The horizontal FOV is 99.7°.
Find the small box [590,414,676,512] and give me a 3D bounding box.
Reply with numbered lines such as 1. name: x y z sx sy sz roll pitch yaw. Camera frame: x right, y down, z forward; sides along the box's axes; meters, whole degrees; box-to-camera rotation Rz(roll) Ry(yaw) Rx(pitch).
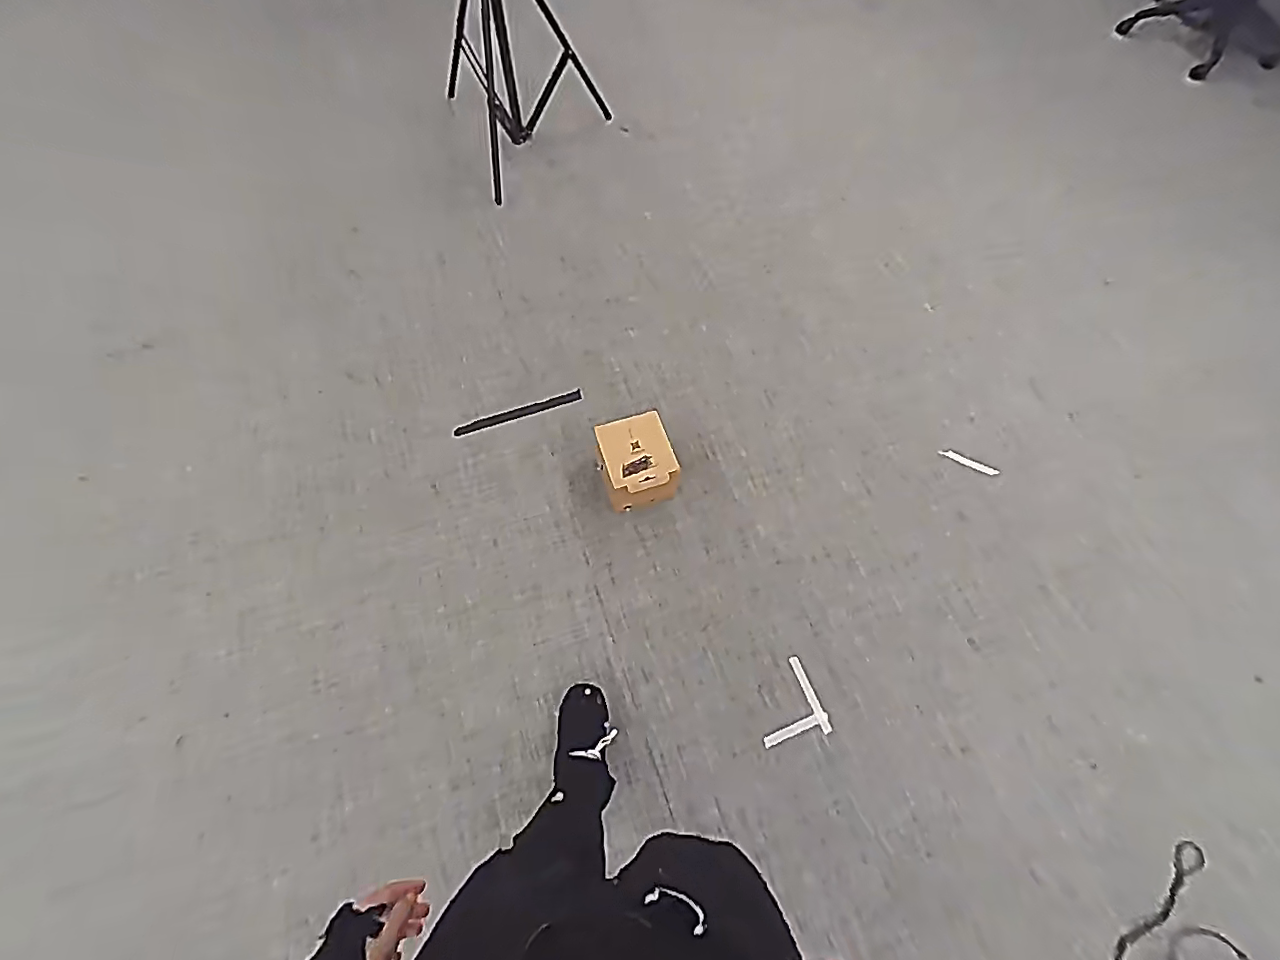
1. small box: -0.019 -0.034 1.359 0.168 0.176 0.179 -17 67 -10
